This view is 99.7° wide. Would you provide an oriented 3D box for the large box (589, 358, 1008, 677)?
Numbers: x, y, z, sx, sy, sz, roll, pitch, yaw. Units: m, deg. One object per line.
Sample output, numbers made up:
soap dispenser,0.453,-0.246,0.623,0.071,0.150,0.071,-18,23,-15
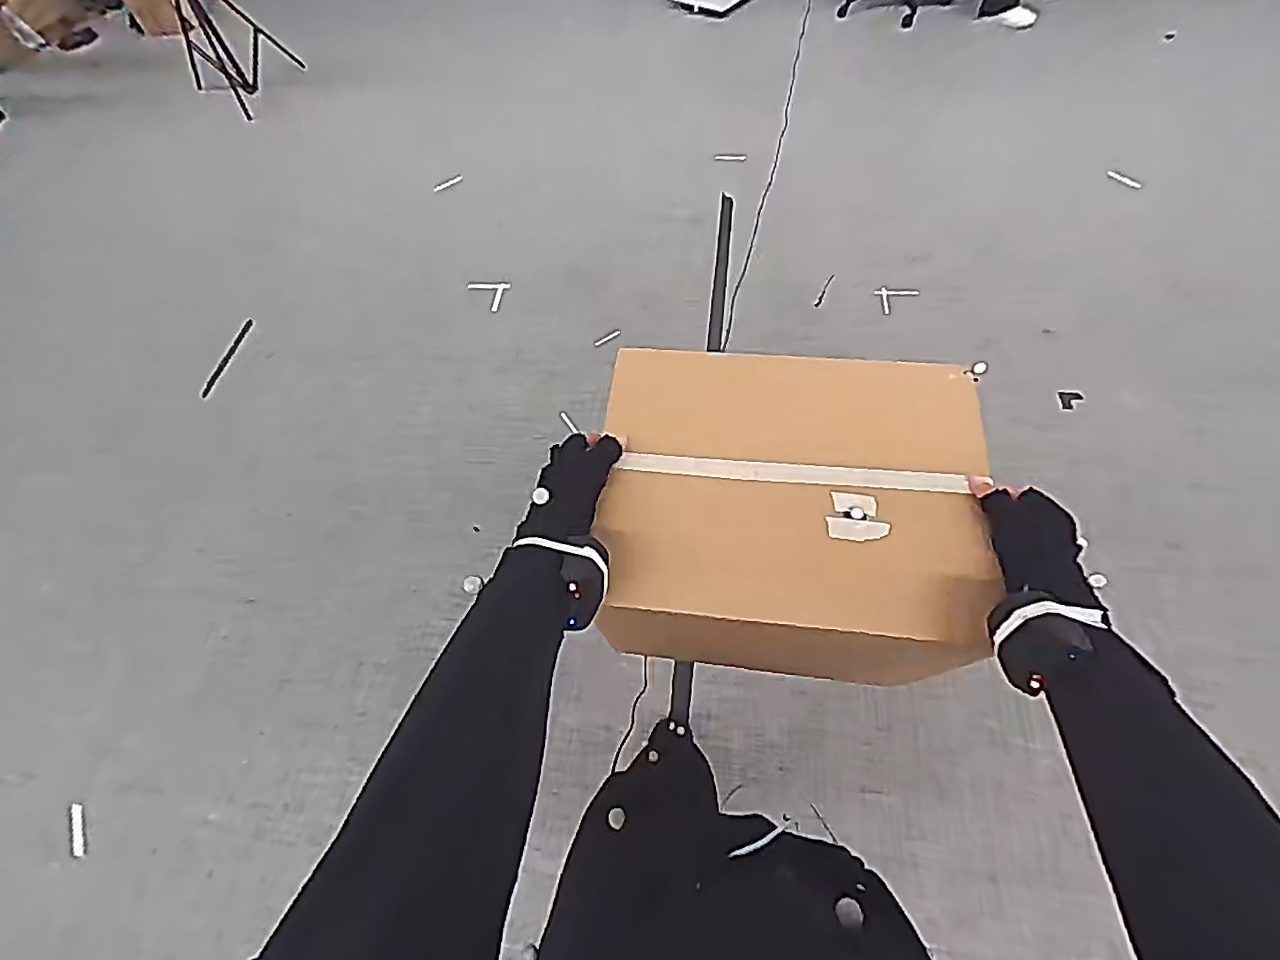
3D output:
large box,0.170,0.063,0.715,0.408,0.320,0.320,5,65,8
